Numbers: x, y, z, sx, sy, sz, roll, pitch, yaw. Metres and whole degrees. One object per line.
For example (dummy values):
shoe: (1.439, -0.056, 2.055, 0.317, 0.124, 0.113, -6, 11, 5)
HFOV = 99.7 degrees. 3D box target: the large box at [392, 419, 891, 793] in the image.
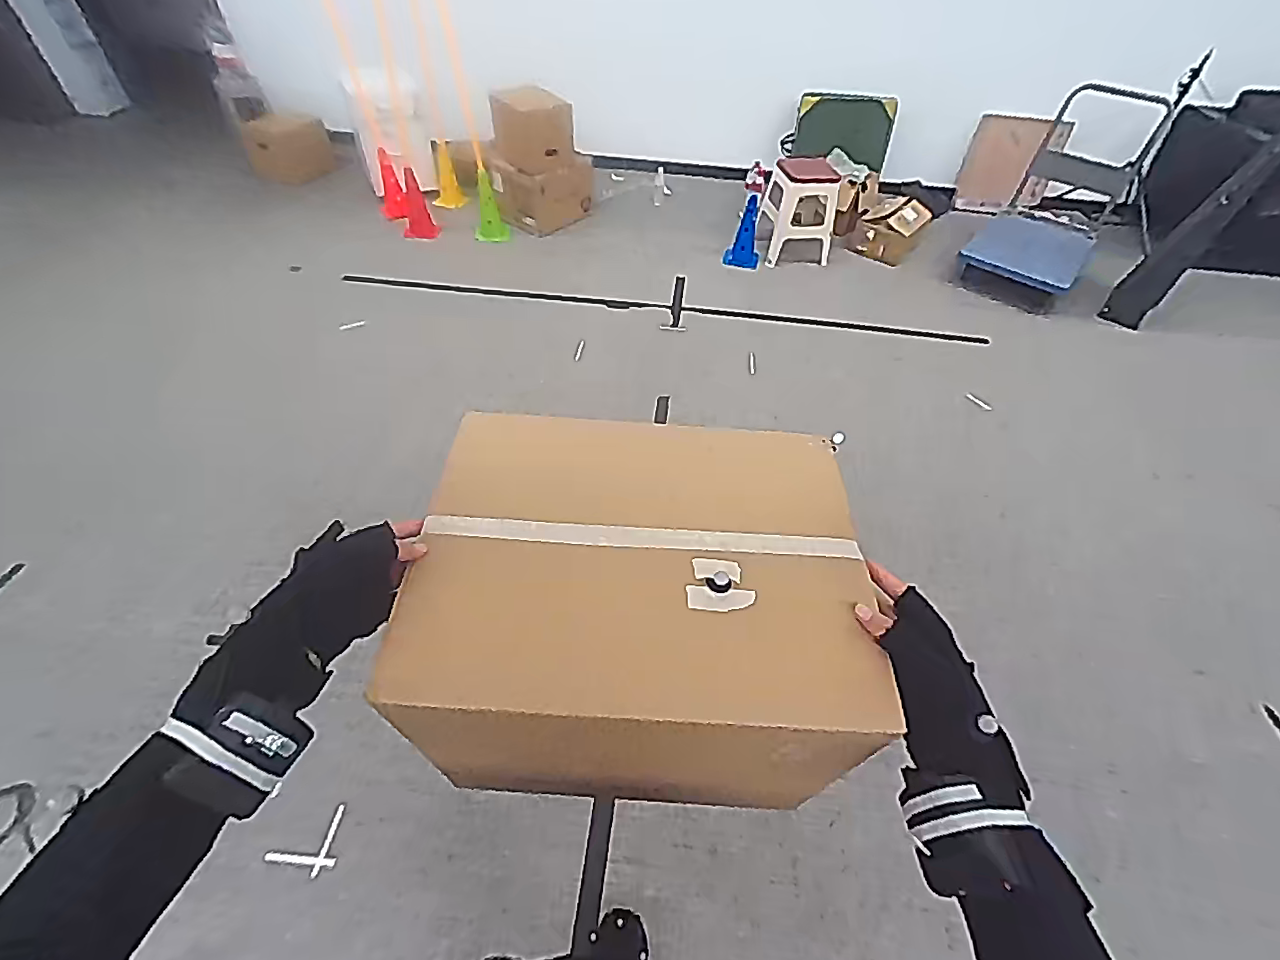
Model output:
large box: (-0.002, 0.154, 0.630, 0.408, 0.320, 0.320, 4, 50, -1)
